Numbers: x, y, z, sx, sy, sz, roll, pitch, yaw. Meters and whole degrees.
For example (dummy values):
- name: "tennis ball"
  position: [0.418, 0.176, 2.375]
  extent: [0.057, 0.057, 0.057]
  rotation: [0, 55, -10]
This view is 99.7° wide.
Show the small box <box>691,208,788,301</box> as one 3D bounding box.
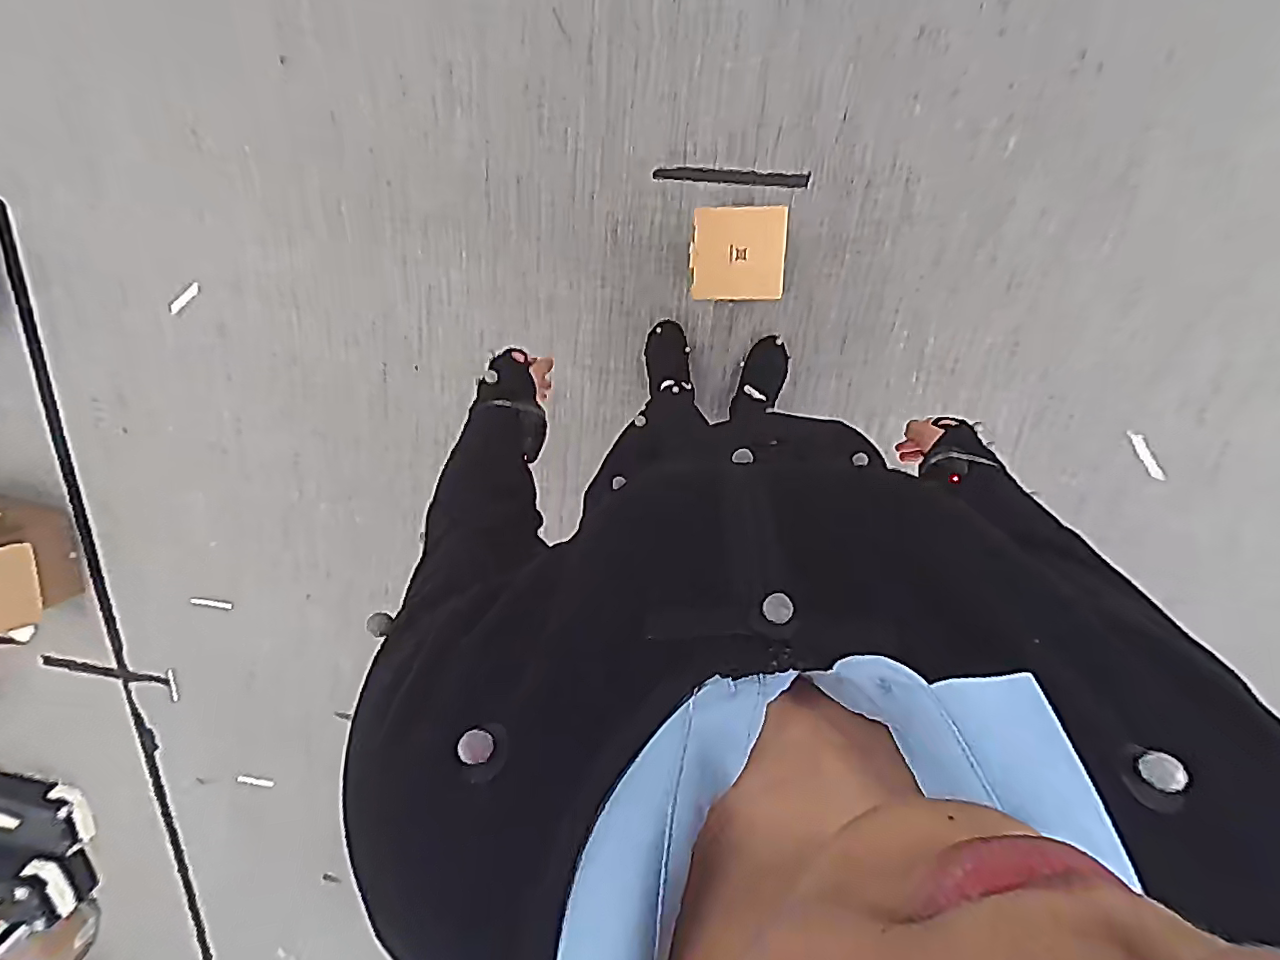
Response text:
- name: "small box"
  position: [0.196, -0.455, 1.101]
  extent: [0.179, 0.176, 0.168]
  rotation: [2, 109, 7]
